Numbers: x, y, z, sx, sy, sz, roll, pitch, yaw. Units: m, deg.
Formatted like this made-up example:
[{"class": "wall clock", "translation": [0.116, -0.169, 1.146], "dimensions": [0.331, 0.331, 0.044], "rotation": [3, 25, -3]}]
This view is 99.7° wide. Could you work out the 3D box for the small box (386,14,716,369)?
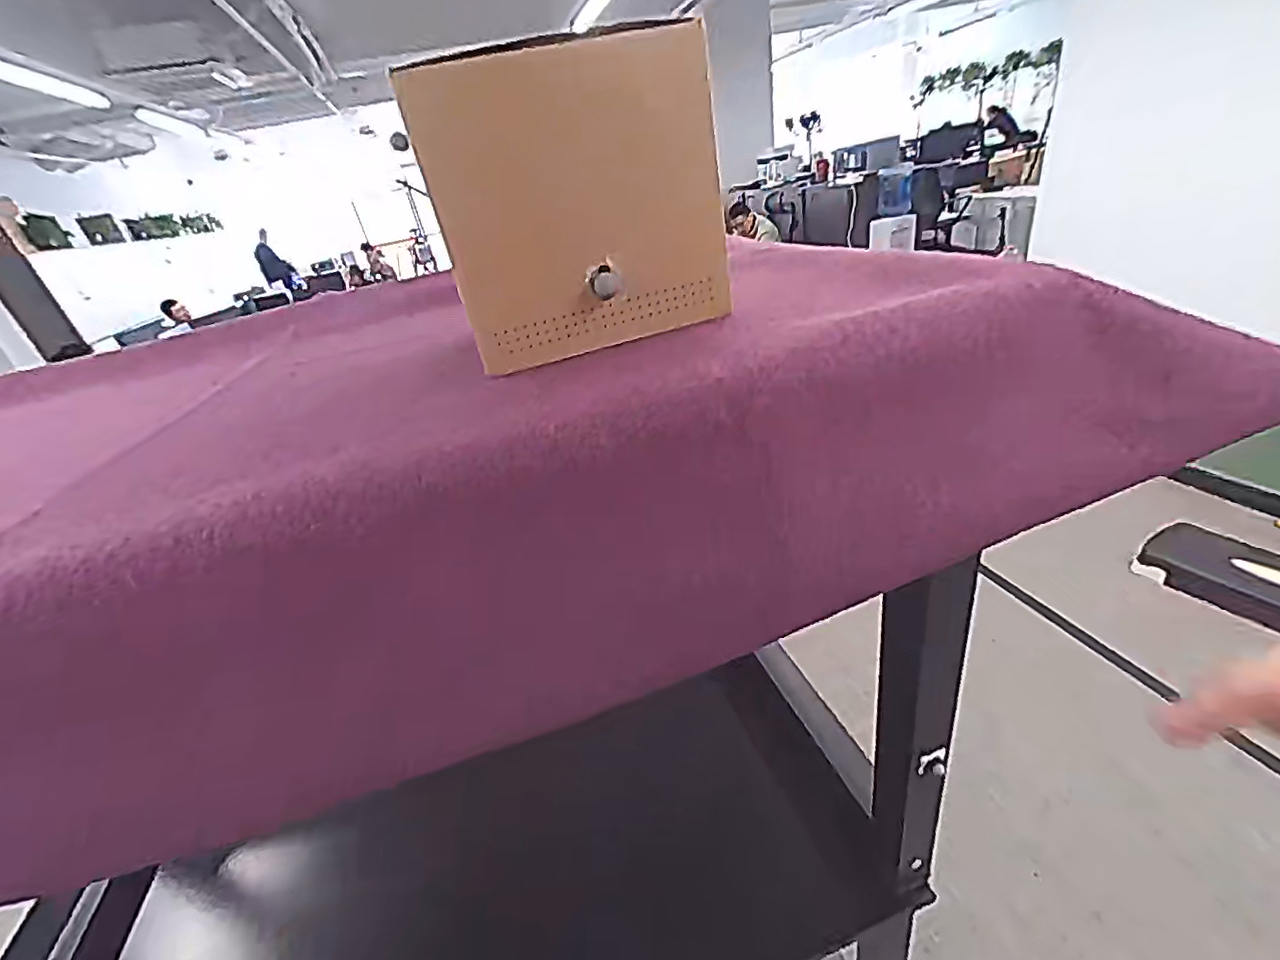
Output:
[{"class": "small box", "translation": [-0.054, -0.196, 0.389], "dimensions": [0.179, 0.176, 0.168], "rotation": [-17, 29, -10]}]
